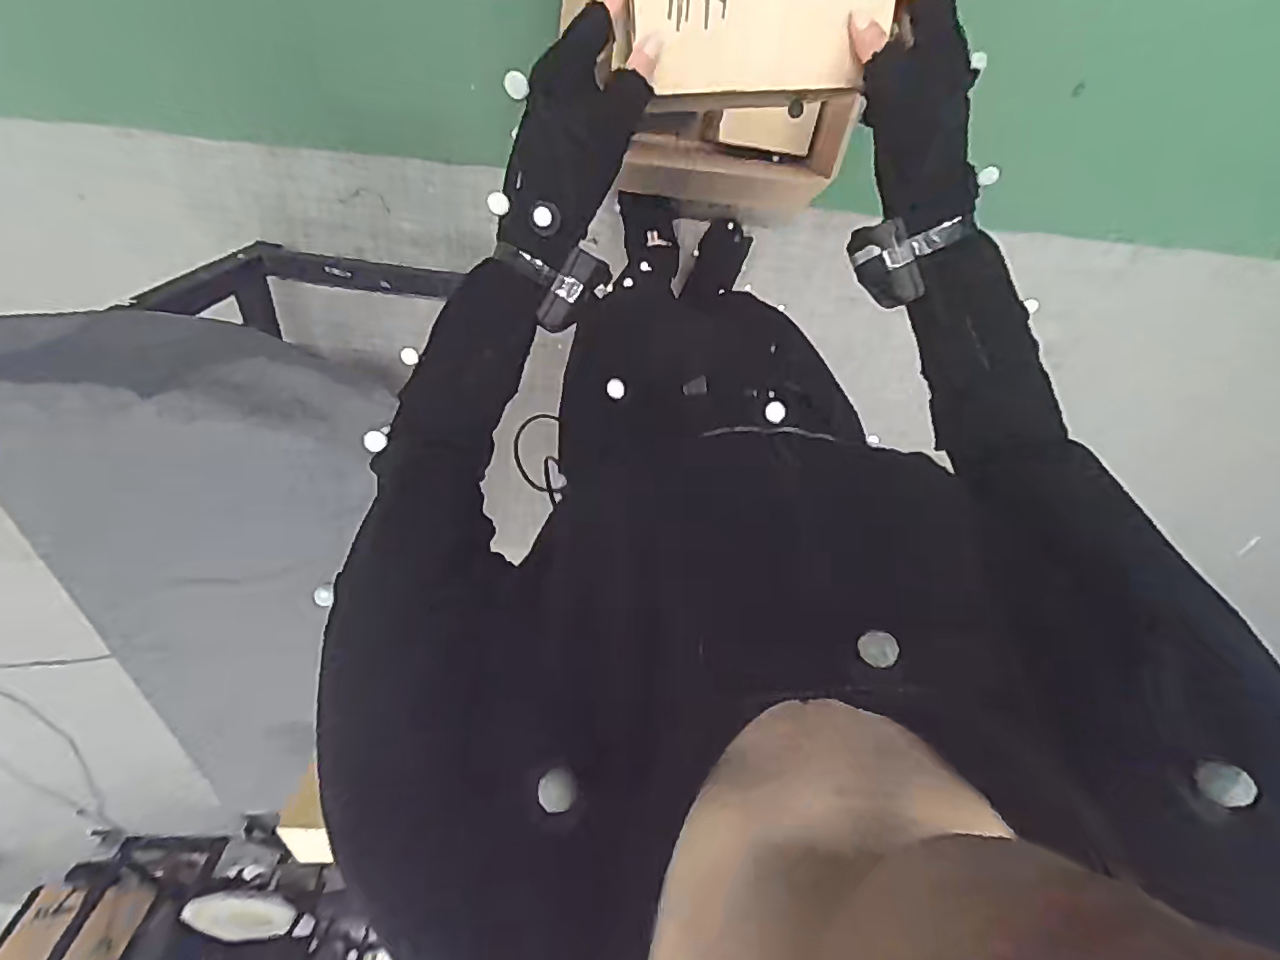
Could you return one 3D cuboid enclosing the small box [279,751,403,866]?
[{"bbox_3d":[-0.637,0.711,1.176,0.168,0.176,0.179,4,127,-3],"label":"small box"}]
